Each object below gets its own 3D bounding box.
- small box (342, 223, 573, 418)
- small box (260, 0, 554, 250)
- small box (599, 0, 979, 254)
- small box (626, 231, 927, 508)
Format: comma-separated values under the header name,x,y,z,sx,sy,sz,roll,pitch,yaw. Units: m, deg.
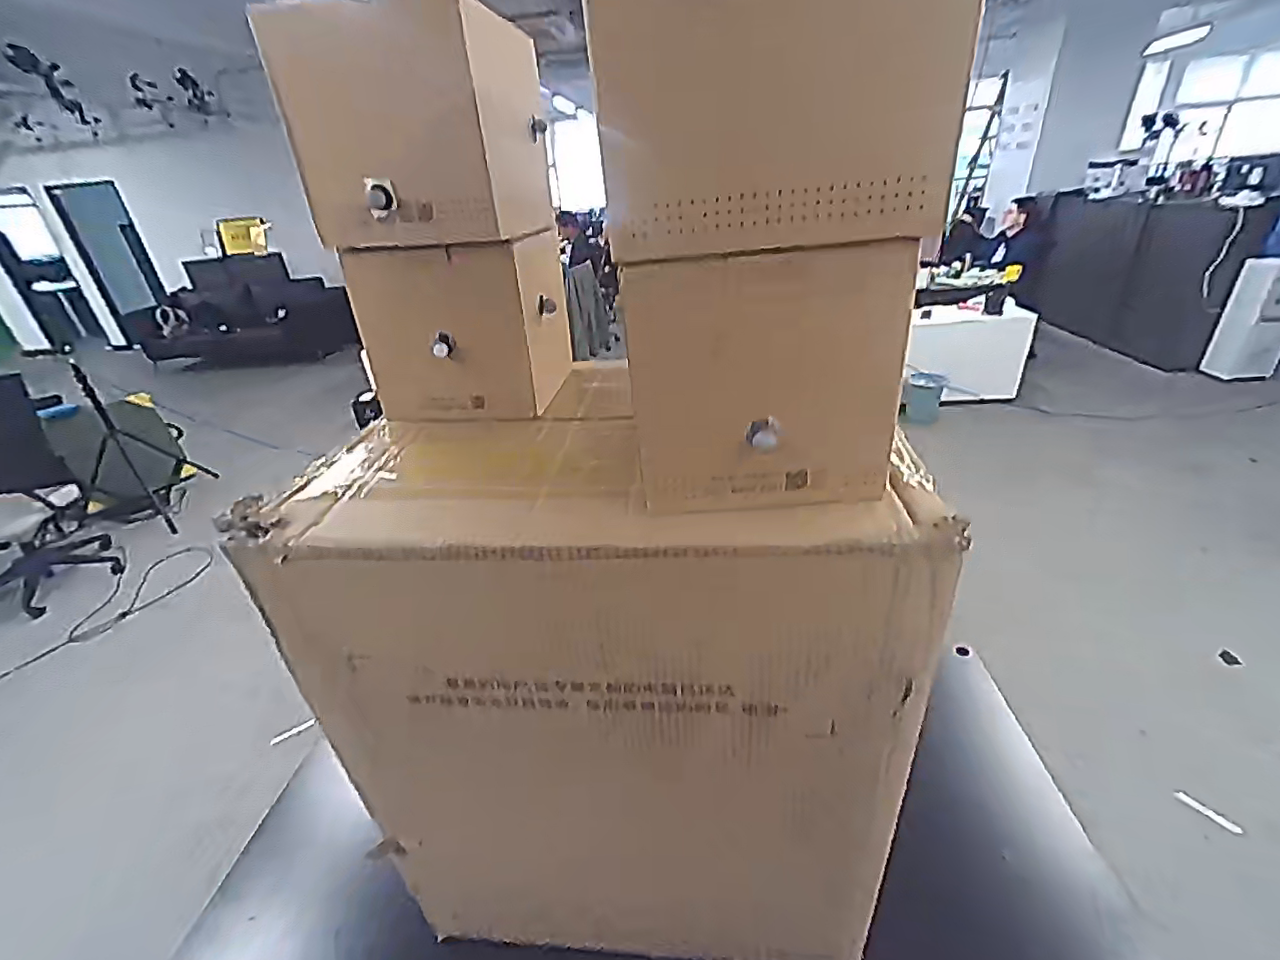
name,x,y,z,sx,sy,sz,roll,pitch,yaw
small box,-0.174,-0.173,0.584,0.168,0.176,0.179,0,30,6
small box,-0.182,-0.308,0.491,0.168,0.176,0.179,0,30,8
small box,0.074,-0.232,0.313,0.179,0.176,0.168,-2,30,7
small box,0.084,-0.095,0.405,0.168,0.176,0.179,-4,30,5
